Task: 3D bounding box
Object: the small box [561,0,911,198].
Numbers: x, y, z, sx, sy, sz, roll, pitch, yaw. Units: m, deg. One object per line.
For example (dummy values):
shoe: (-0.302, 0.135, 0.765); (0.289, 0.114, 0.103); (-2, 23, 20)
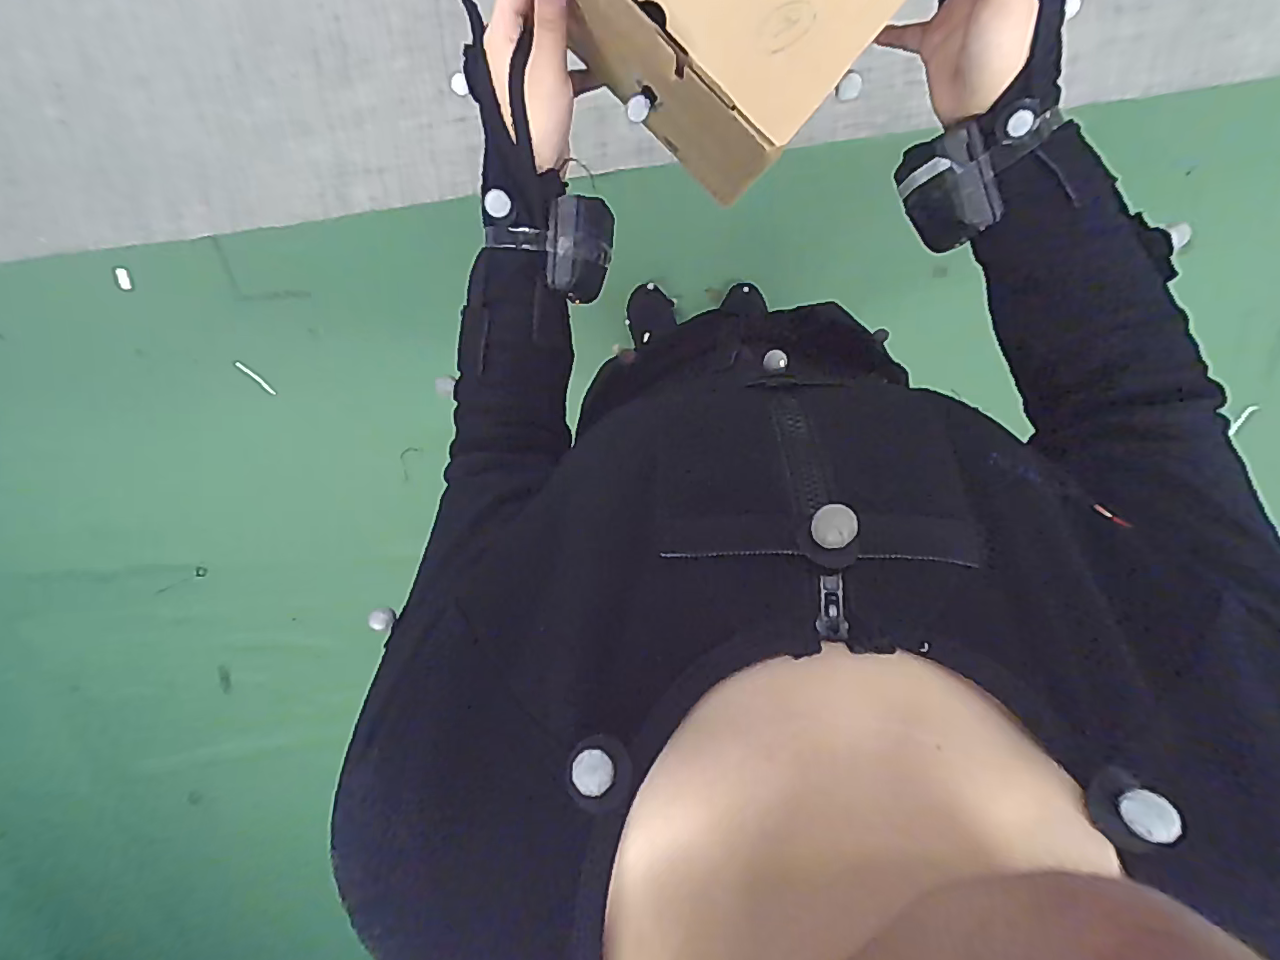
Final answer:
small box: (0.063, -0.296, 0.308); (0.168, 0.176, 0.179); (40, 106, -11)
